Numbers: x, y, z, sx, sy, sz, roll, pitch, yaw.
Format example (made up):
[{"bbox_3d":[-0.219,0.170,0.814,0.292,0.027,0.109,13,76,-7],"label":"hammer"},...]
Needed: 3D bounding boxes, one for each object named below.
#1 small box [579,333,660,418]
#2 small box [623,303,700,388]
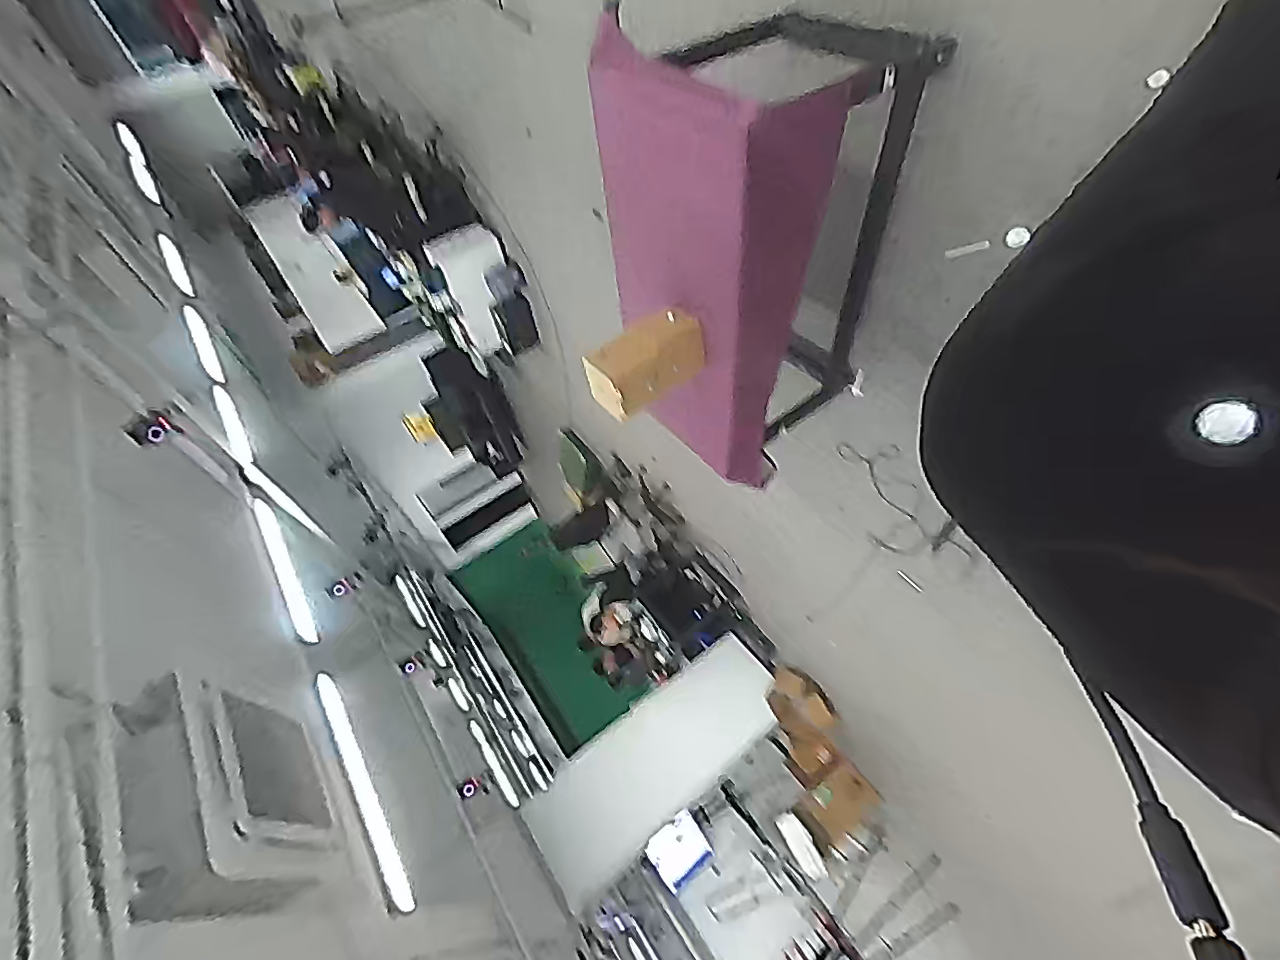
[{"bbox_3d":[-0.059,-0.330,1.669,0.179,0.176,0.168,43,159,36],"label":"small box"},{"bbox_3d":[0.074,-0.426,1.699,0.168,0.176,0.179,40,155,41],"label":"small box"}]
